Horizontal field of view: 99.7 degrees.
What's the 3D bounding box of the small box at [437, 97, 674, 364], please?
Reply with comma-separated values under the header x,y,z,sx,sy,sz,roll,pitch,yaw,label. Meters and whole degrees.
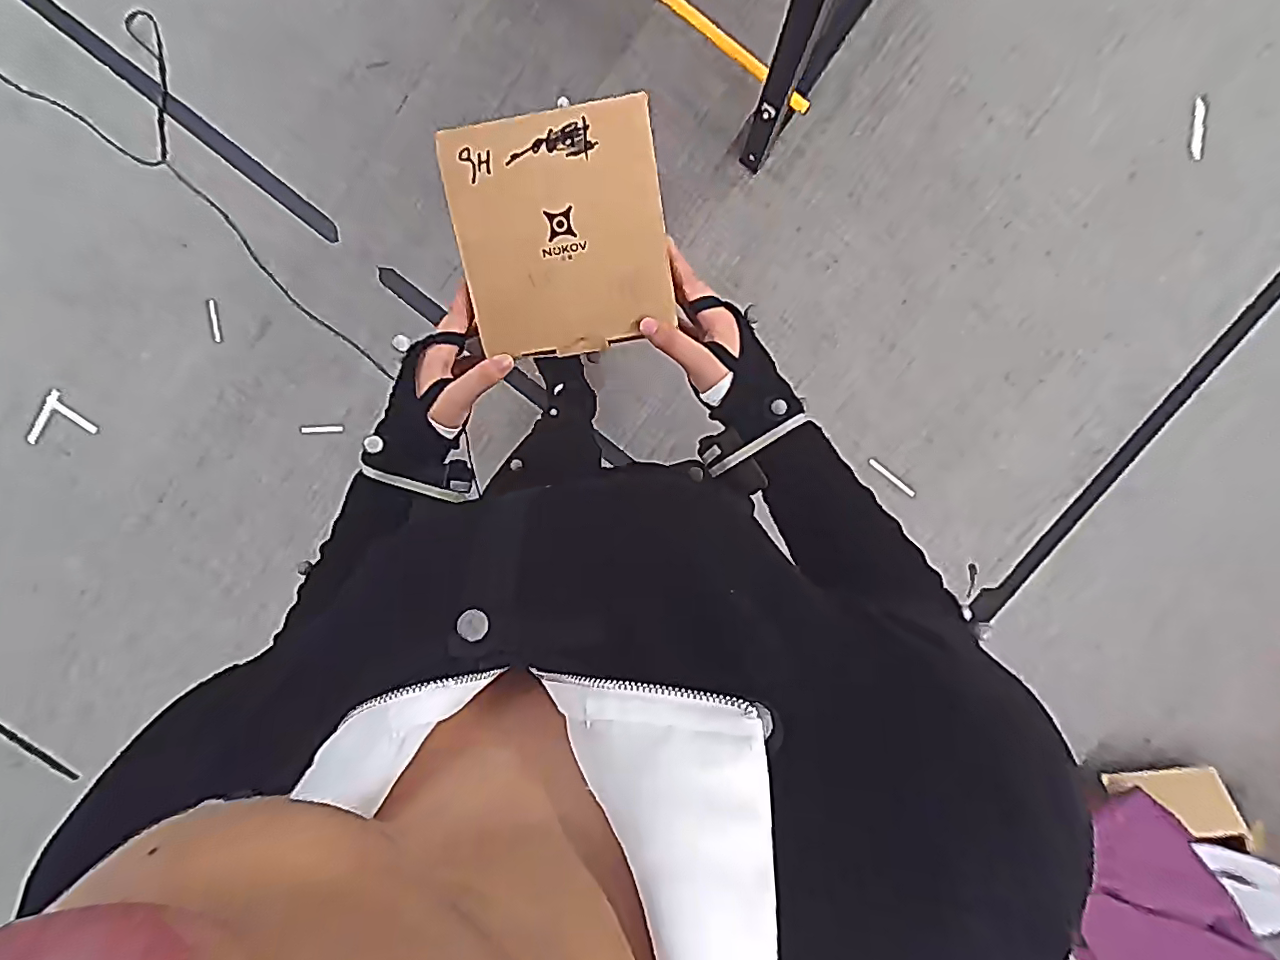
x,y,z,sx,sy,sz,roll,pitch,yaw,label
-0.061,-0.215,0.506,0.168,0.176,0.179,-9,106,3,small box
